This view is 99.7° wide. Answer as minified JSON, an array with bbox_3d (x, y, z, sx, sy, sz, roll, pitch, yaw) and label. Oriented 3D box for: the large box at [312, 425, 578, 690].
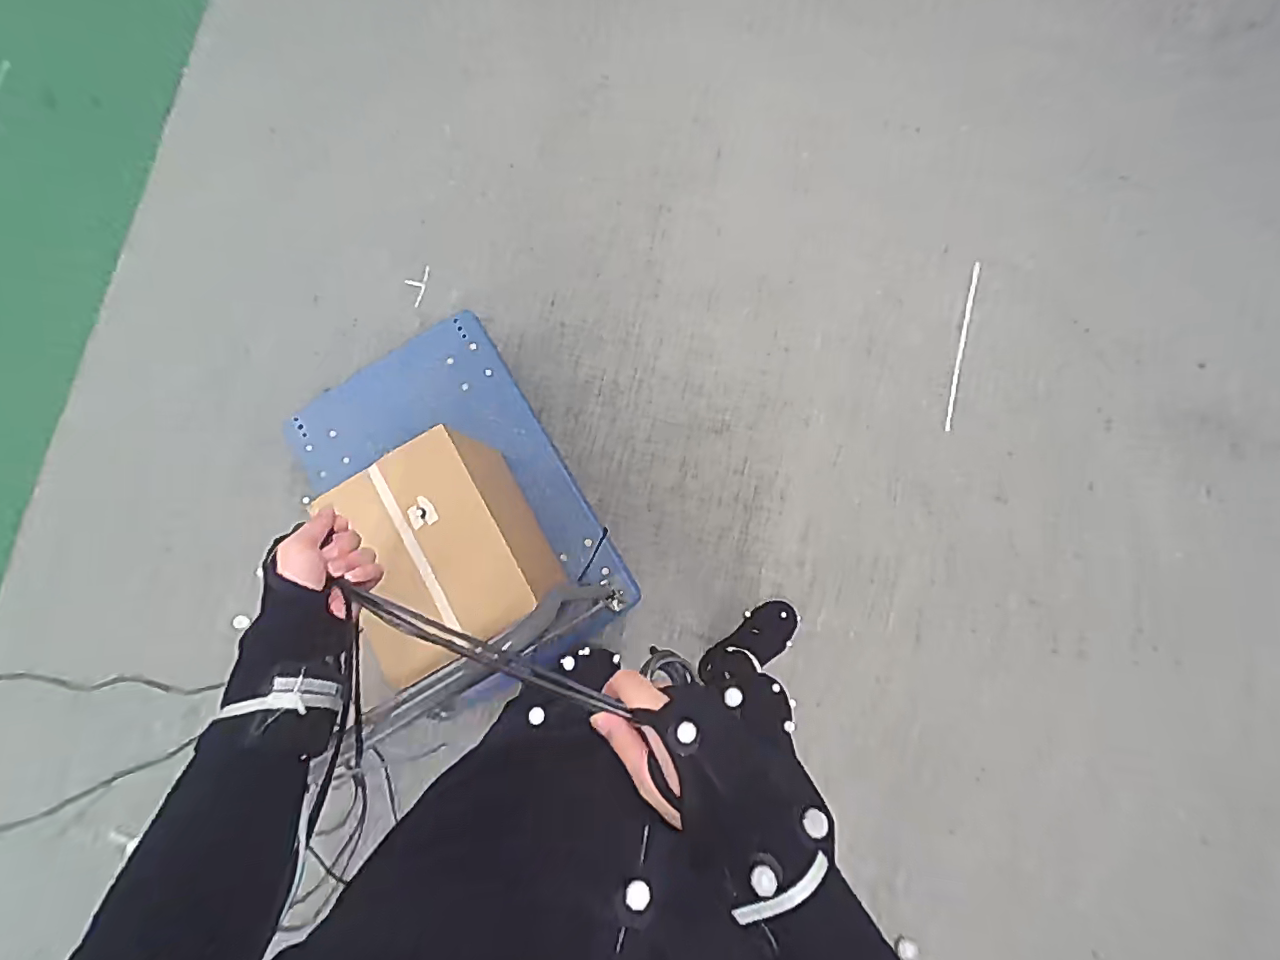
[{"bbox_3d":[-0.383,0.156,1.146,0.320,0.320,0.408,-31,81,1],"label":"large box"}]
